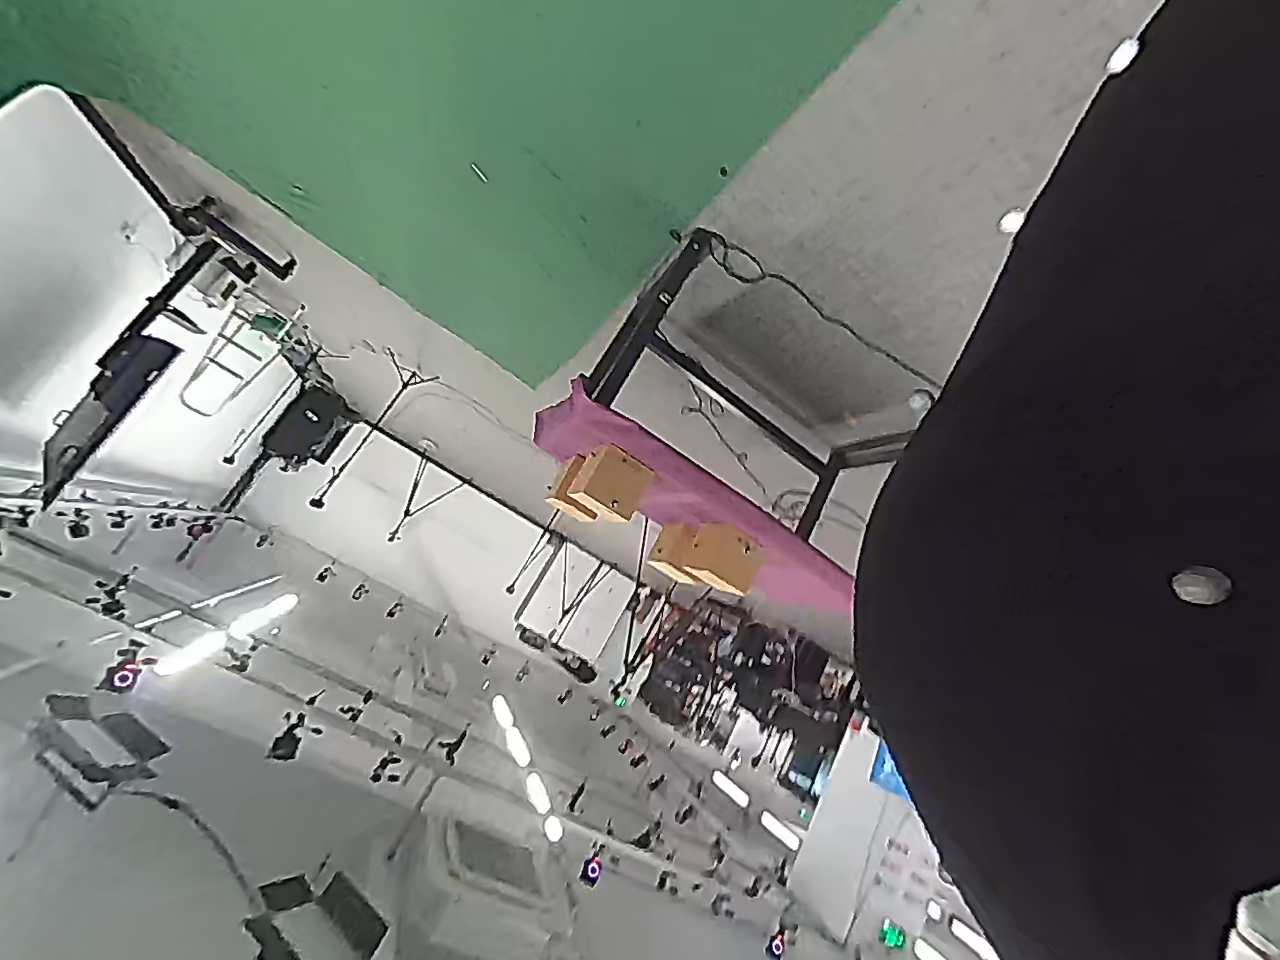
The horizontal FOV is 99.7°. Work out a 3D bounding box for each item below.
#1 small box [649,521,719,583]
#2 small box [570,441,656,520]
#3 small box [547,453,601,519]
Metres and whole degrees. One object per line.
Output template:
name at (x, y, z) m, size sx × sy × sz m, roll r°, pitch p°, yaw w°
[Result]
small box at (0.167, 0.262, 2.009) m, size 0.168 × 0.176 × 0.179 m, roll 34°, pitch 163°, yaw -16°
small box at (-0.078, 0.001, 1.595) m, size 0.168 × 0.176 × 0.179 m, roll 33°, pitch 167°, yaw -18°
small box at (-0.202, 0.024, 1.889) m, size 0.168 × 0.176 × 0.179 m, roll 31°, pitch 165°, yaw -16°
